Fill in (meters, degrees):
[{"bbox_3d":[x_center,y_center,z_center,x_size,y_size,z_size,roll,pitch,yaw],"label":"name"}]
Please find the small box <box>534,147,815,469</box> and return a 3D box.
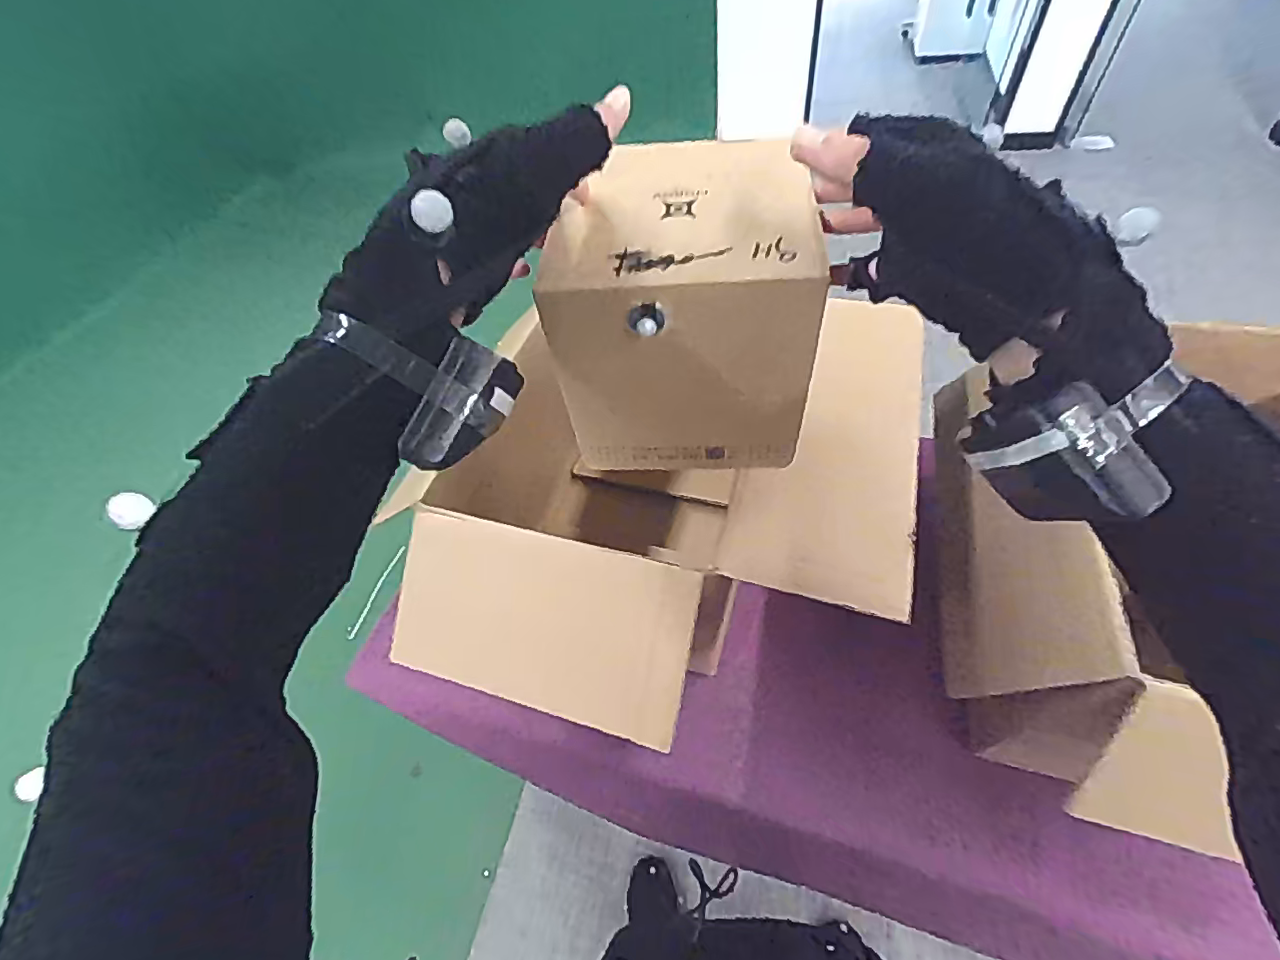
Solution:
[{"bbox_3d":[0.033,-0.129,0.422,0.168,0.176,0.179,0,53,9],"label":"small box"}]
